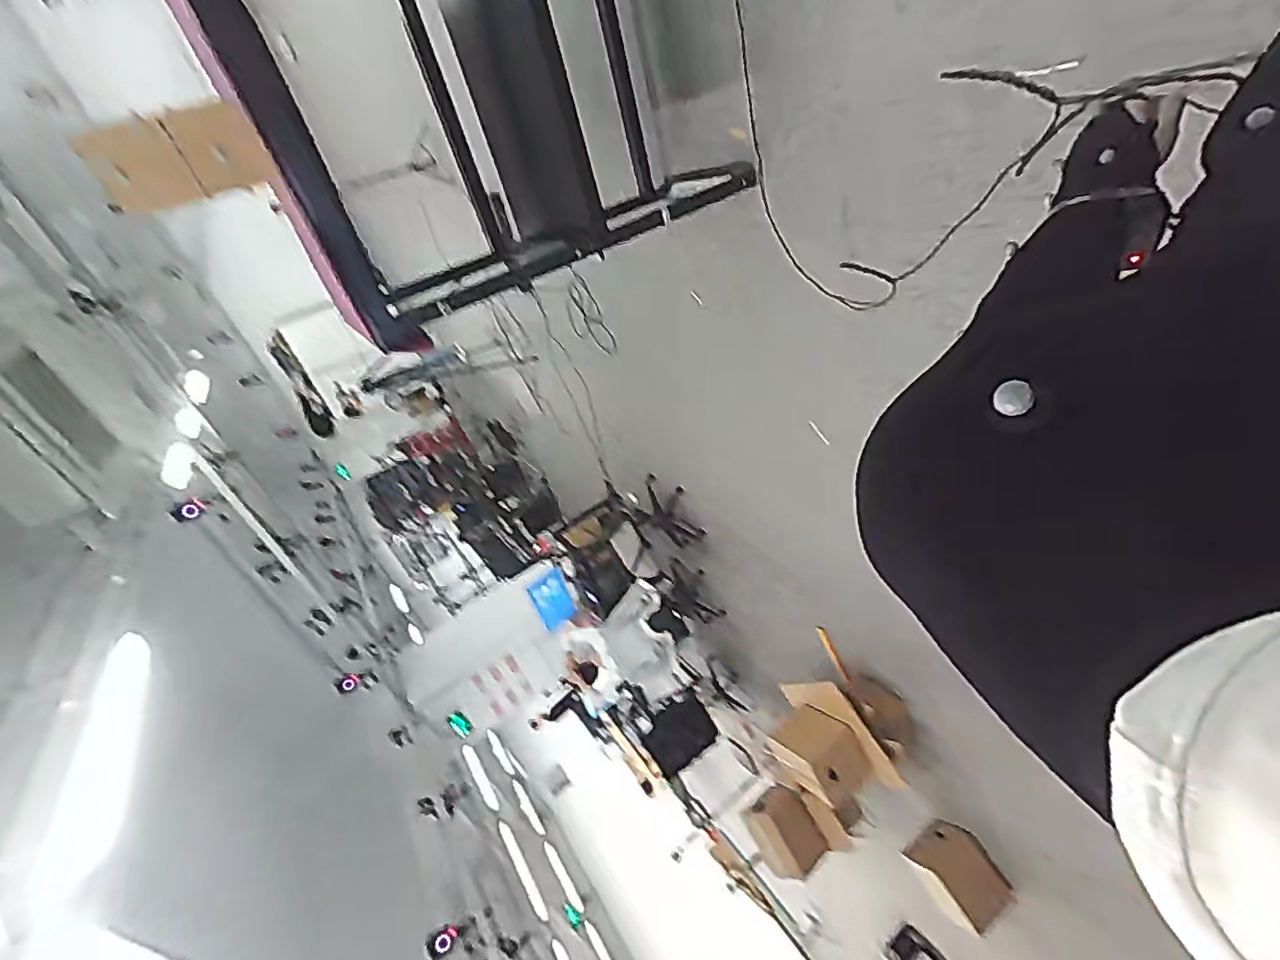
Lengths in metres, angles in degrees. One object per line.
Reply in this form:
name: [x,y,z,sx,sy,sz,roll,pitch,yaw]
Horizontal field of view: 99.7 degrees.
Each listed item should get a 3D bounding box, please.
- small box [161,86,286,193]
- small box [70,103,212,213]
small box: [-0.975,-0.802,1.280,0.168,0.176,0.179,35,149,47]
small box: [-1.107,-0.726,1.221,0.168,0.176,0.179,36,149,45]
